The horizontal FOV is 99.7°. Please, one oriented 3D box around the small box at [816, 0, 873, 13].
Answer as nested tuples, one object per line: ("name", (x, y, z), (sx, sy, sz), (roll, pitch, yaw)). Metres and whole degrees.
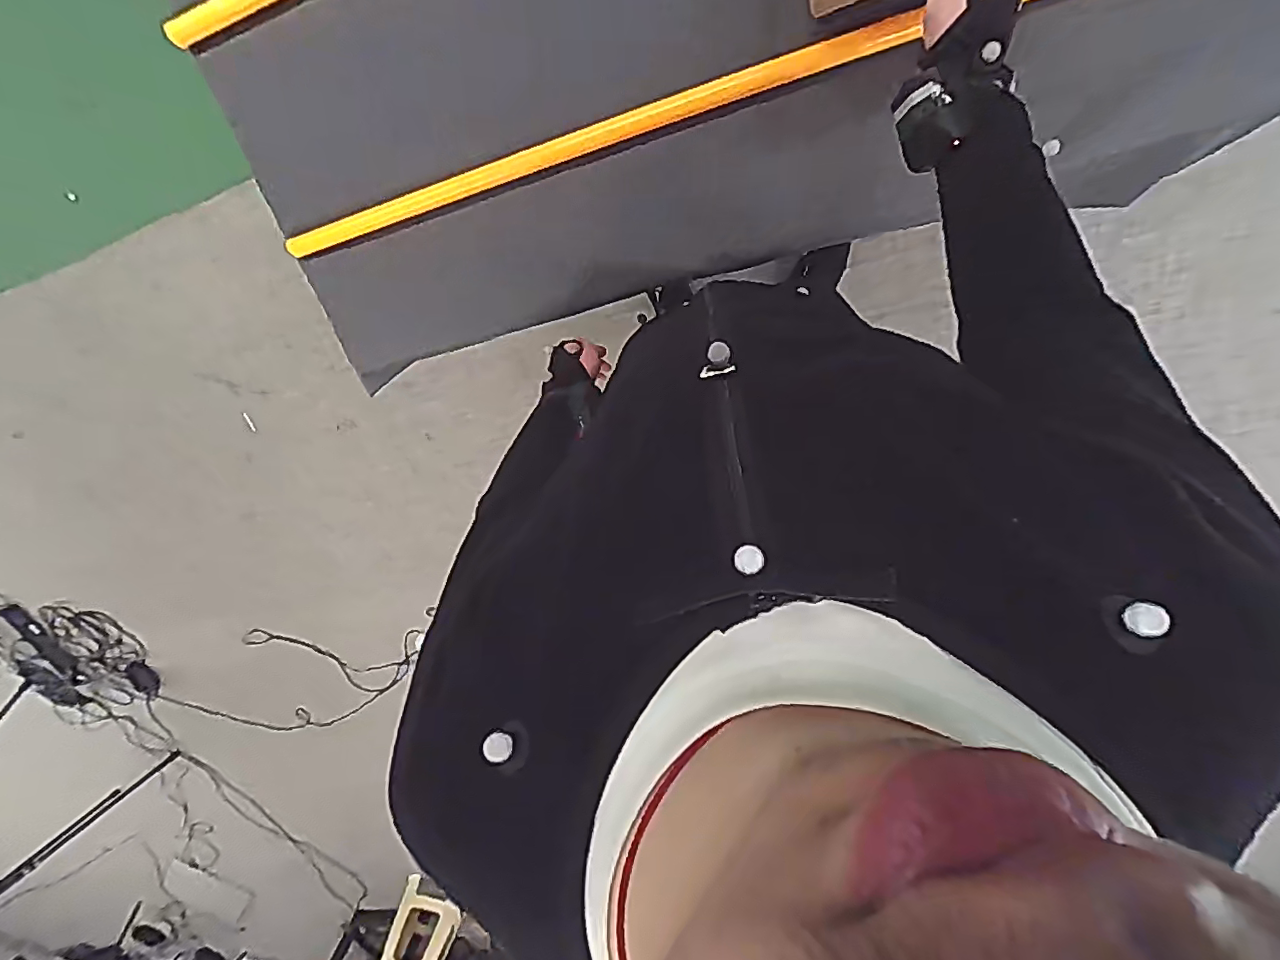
("small box", (0.229, -0.552, 0.466), (0.168, 0.176, 0.179), (-14, 111, 18))
